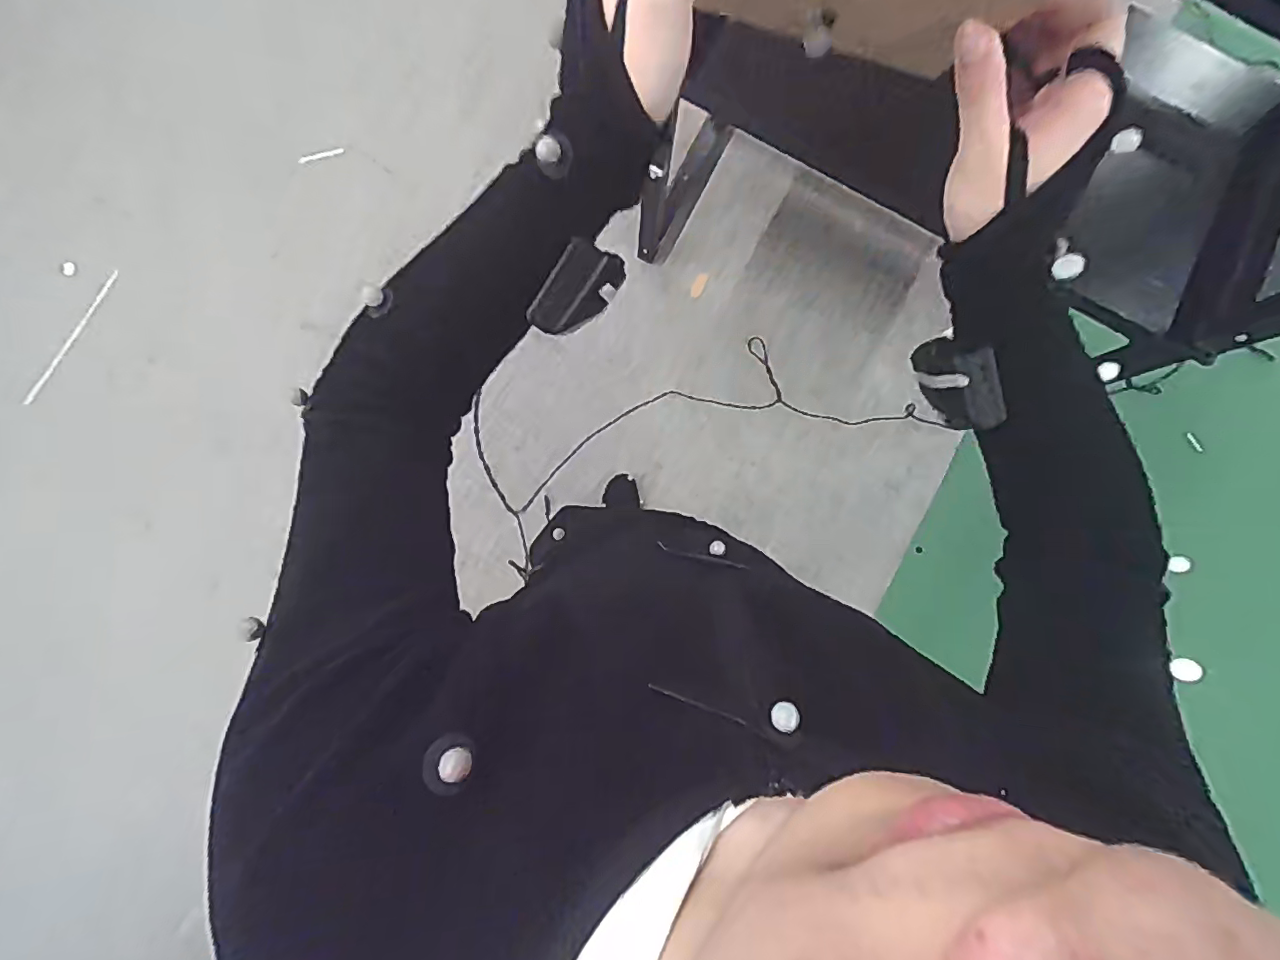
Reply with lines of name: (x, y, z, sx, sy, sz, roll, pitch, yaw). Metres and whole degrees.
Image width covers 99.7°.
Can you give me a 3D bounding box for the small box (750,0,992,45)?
small box: (0.121, -0.338, 0.248, 0.179, 0.176, 0.168, 17, 115, -1)
